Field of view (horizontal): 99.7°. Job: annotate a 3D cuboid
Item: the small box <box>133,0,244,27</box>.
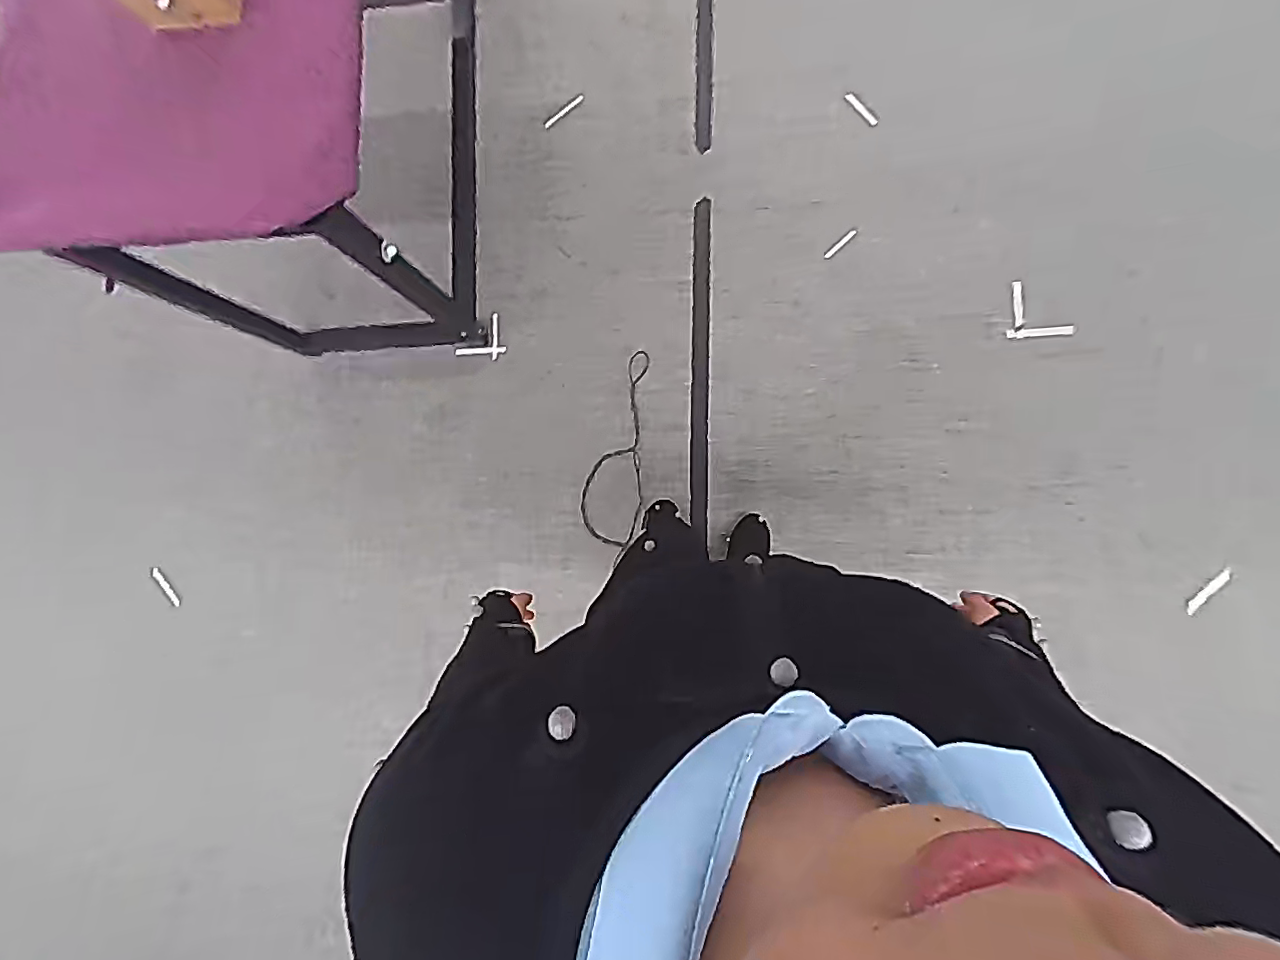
[{"bbox_3d":[-0.738,-0.847,0.823,0.168,0.176,0.179,1,87,6],"label":"small box"}]
